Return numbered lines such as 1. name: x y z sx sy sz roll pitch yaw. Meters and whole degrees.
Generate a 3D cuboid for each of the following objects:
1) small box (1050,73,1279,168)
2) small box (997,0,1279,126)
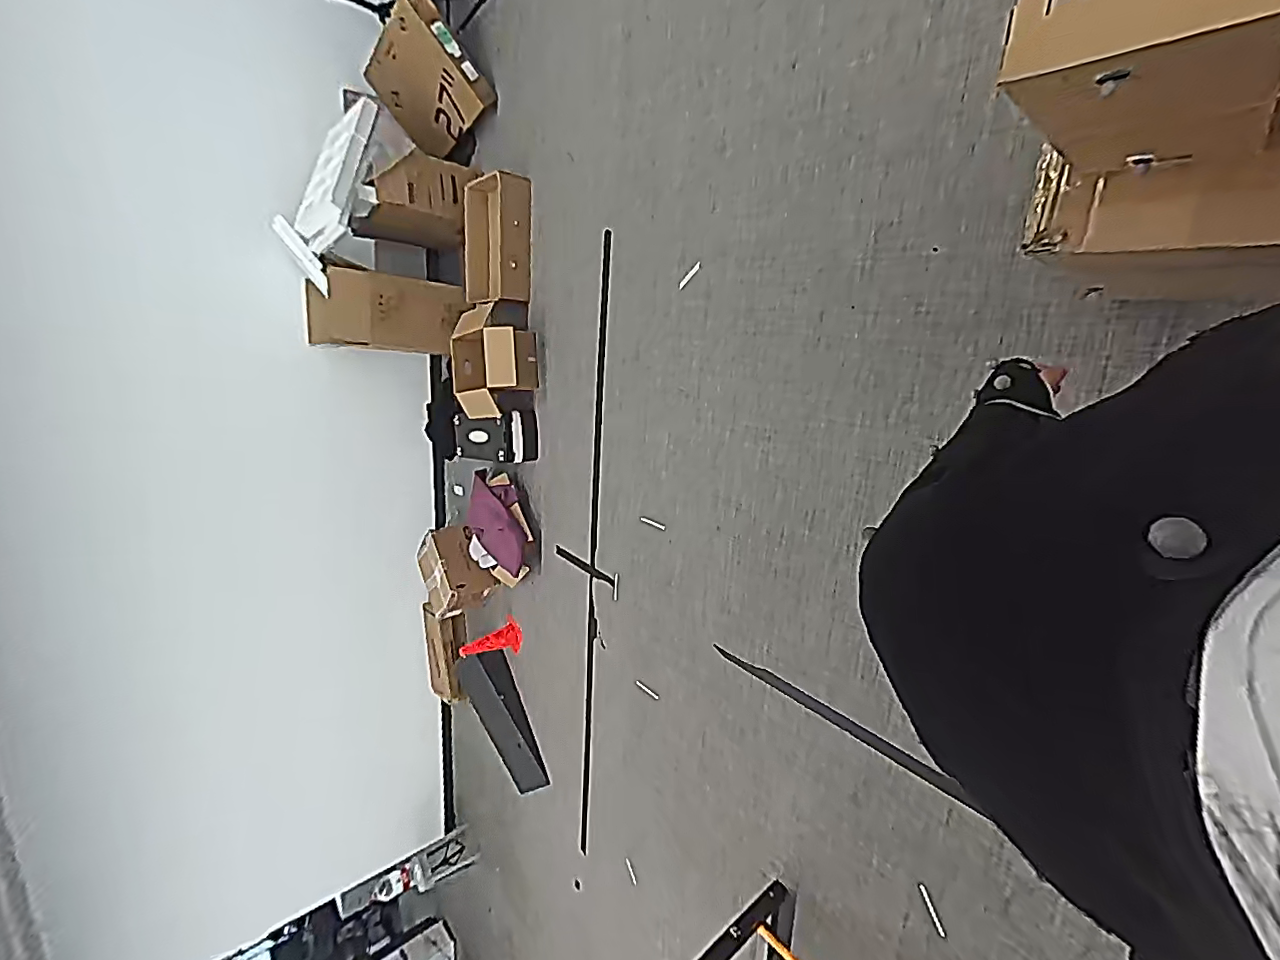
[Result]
1. small box: 0.564 -0.449 0.558 0.168 0.176 0.179 21 114 47
2. small box: 0.441 -0.425 0.452 0.179 0.176 0.168 19 112 46
